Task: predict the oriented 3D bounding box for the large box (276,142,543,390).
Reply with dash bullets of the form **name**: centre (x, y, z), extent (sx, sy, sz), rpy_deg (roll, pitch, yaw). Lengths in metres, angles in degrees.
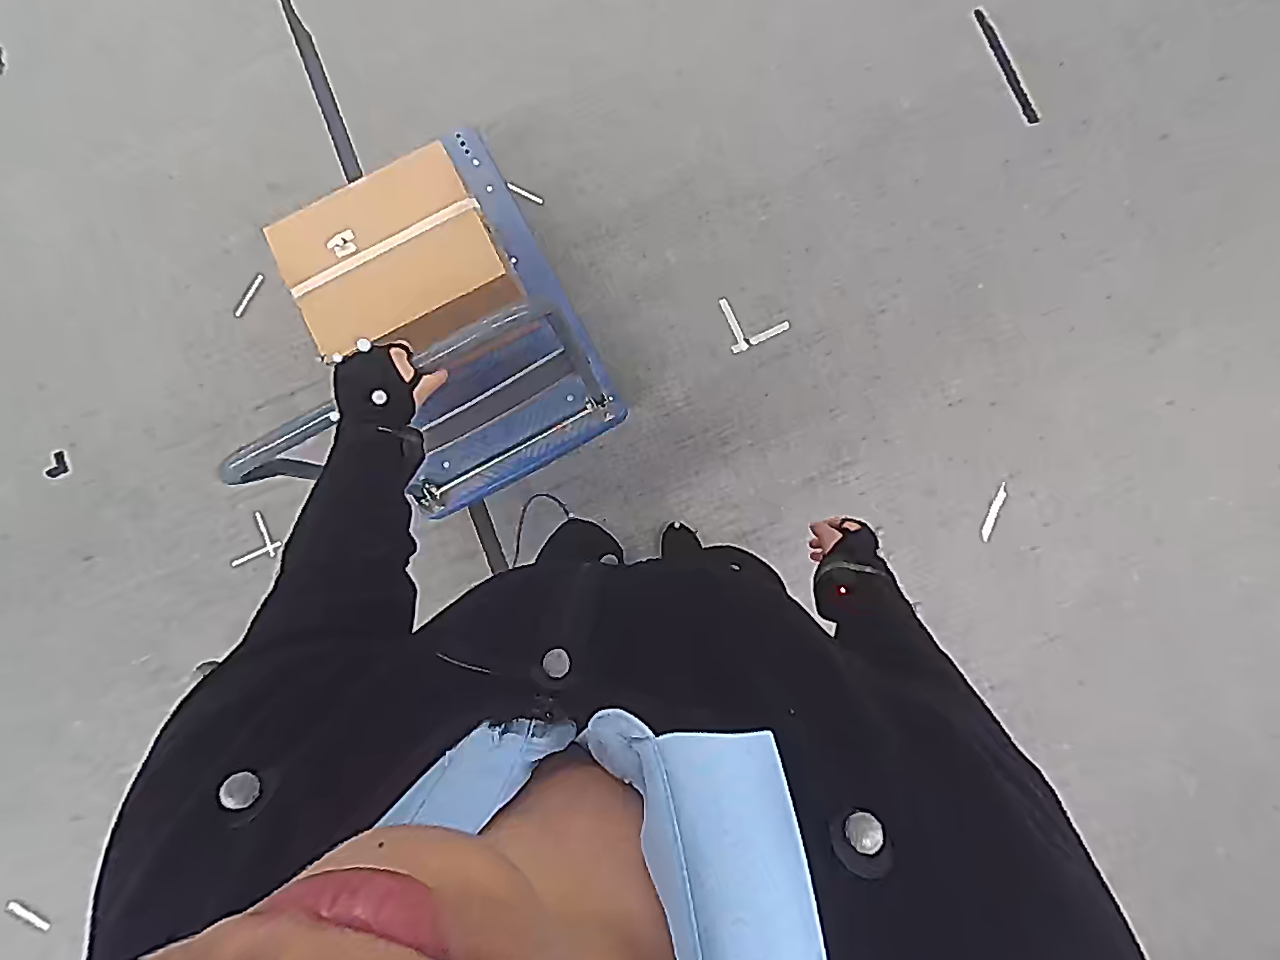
- **large box**: centre (-0.493, -0.454, 1.235), extent (0.408, 0.320, 0.320), rpy_deg (-27, 85, 2)
